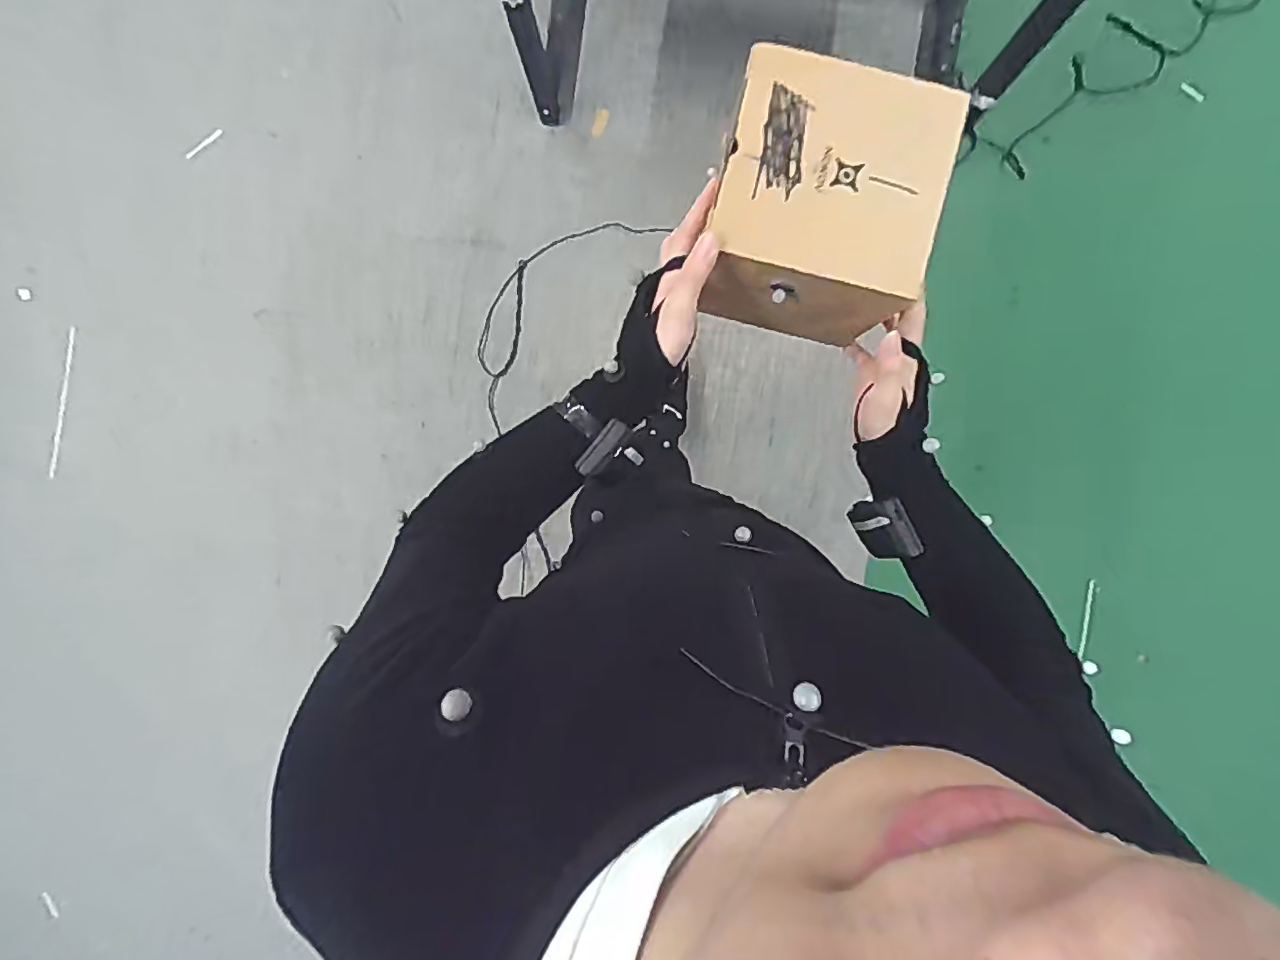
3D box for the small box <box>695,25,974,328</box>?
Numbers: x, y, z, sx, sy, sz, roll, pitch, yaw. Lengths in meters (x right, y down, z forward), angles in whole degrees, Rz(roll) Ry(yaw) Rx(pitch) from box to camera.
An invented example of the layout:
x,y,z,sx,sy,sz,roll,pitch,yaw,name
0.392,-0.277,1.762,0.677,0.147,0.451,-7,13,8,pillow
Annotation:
x,y,z,sx,sy,sz,roll,pitch,yaw,name
0.155,-0.254,0.497,0.179,0.176,0.168,14,91,0,small box
